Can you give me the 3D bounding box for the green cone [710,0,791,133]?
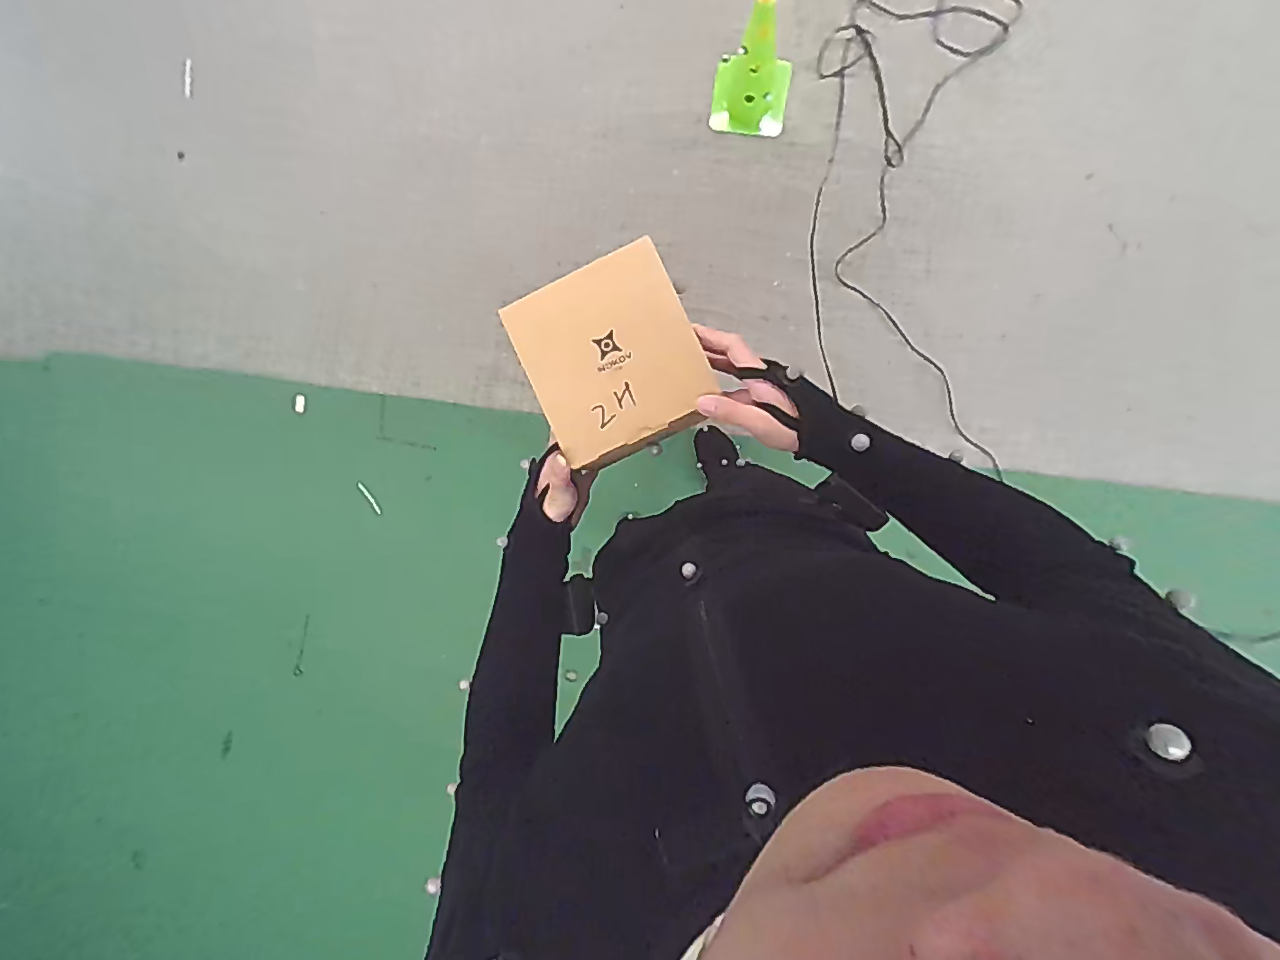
[{"bbox_3d":[0.289,-1.045,1.309,0.202,0.368,0.200,8,97,3],"label":"green cone"}]
